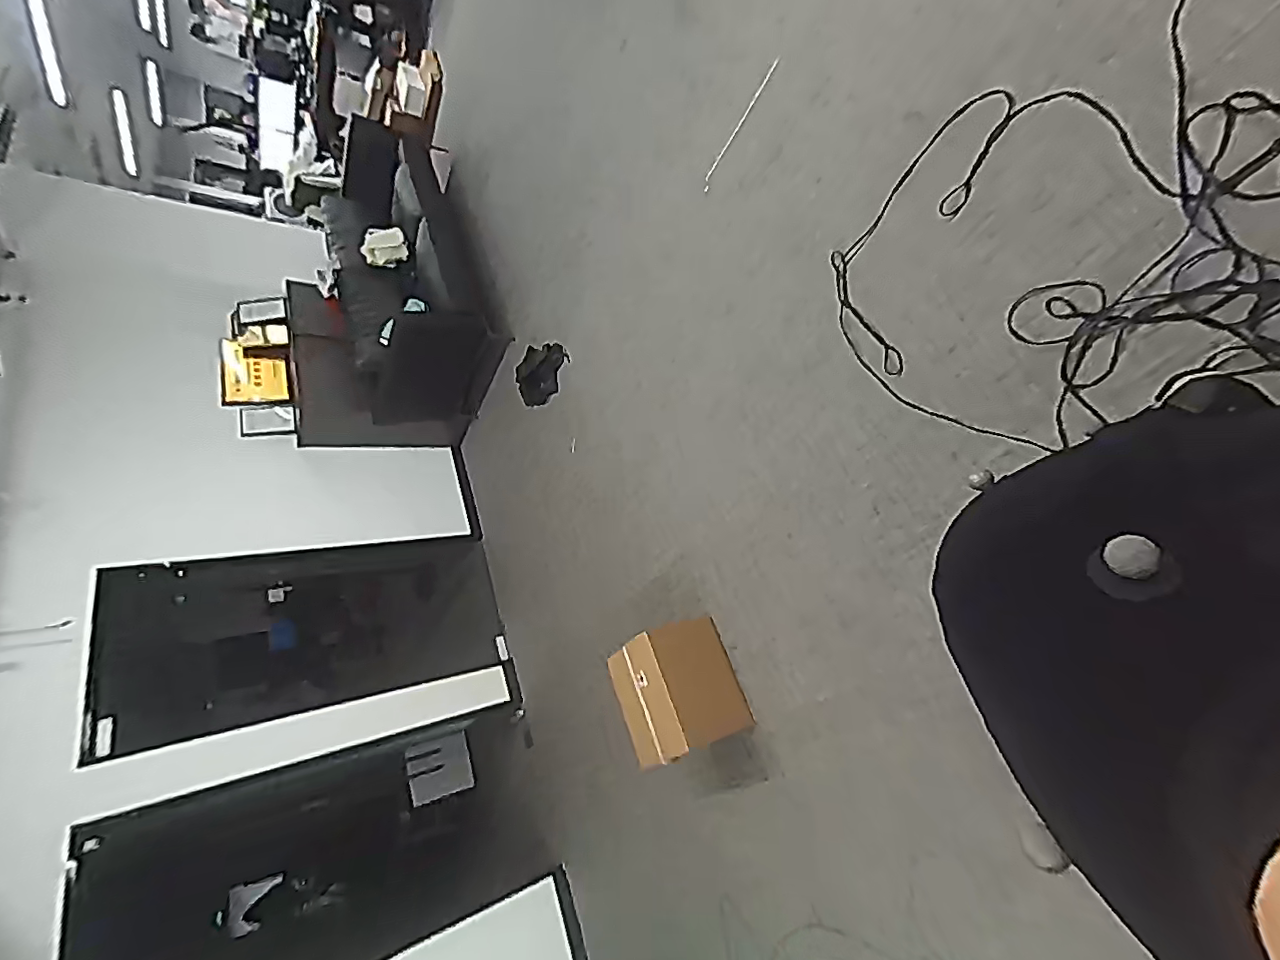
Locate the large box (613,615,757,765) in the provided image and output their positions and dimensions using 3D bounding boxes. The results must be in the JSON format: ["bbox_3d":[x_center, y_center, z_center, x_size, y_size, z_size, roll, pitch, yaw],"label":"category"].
[{"bbox_3d":[0.153,0.757,1.972,0.320,0.320,0.408,-49,53,43],"label":"large box"}]
